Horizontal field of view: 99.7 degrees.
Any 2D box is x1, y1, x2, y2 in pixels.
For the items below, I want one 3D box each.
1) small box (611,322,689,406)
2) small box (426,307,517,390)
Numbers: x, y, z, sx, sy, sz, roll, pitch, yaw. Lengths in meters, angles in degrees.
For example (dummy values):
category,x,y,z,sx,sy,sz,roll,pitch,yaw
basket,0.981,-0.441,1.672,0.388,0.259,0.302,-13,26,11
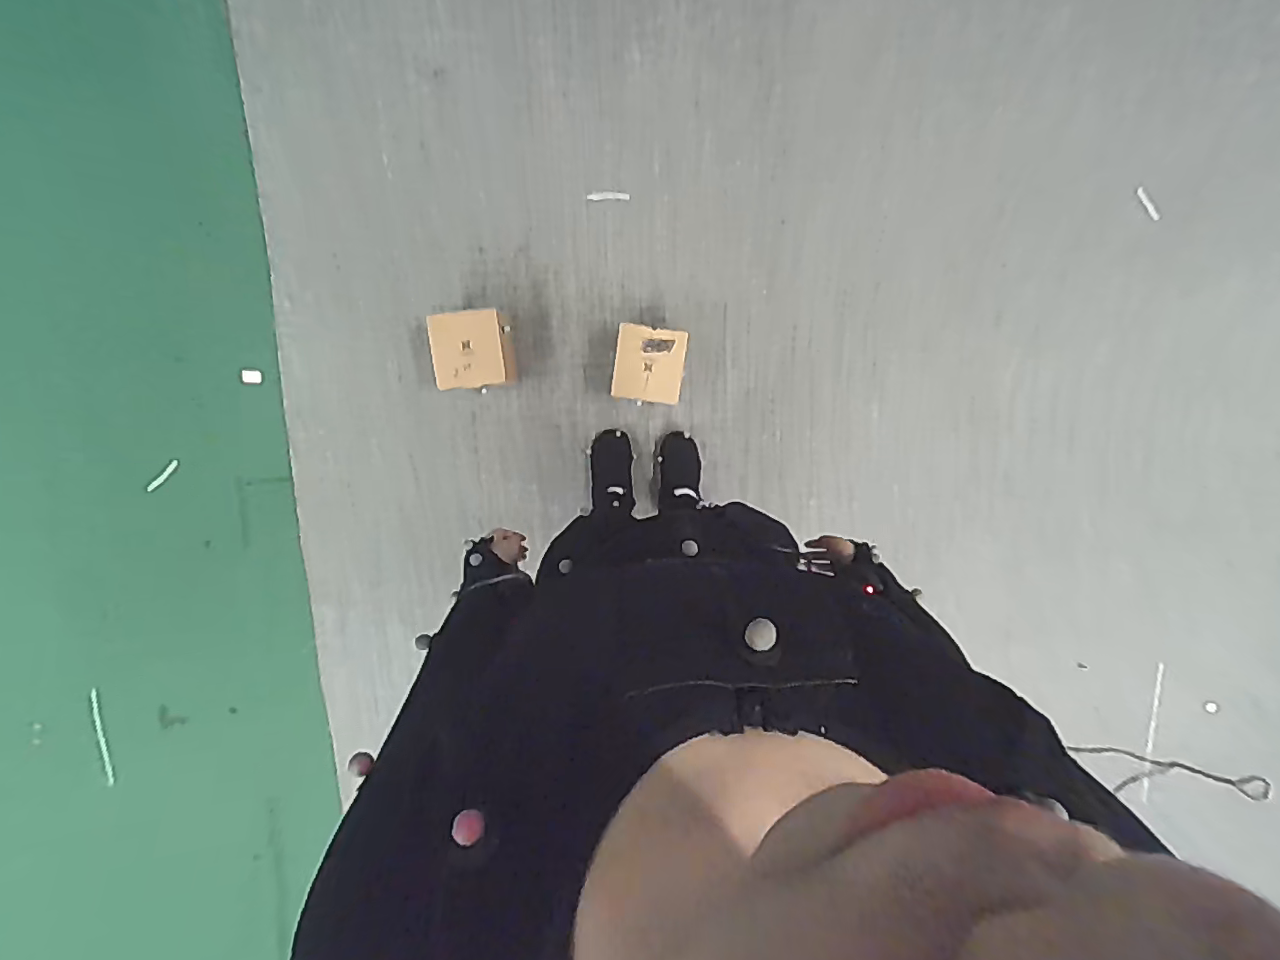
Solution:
category,x,y,z,sx,sy,sz,roll,pitch,yaw
small box,0.020,-0.285,1.351,0.168,0.176,0.179,8,99,-3
small box,-0.407,-0.318,1.330,0.168,0.176,0.179,-6,99,-1
